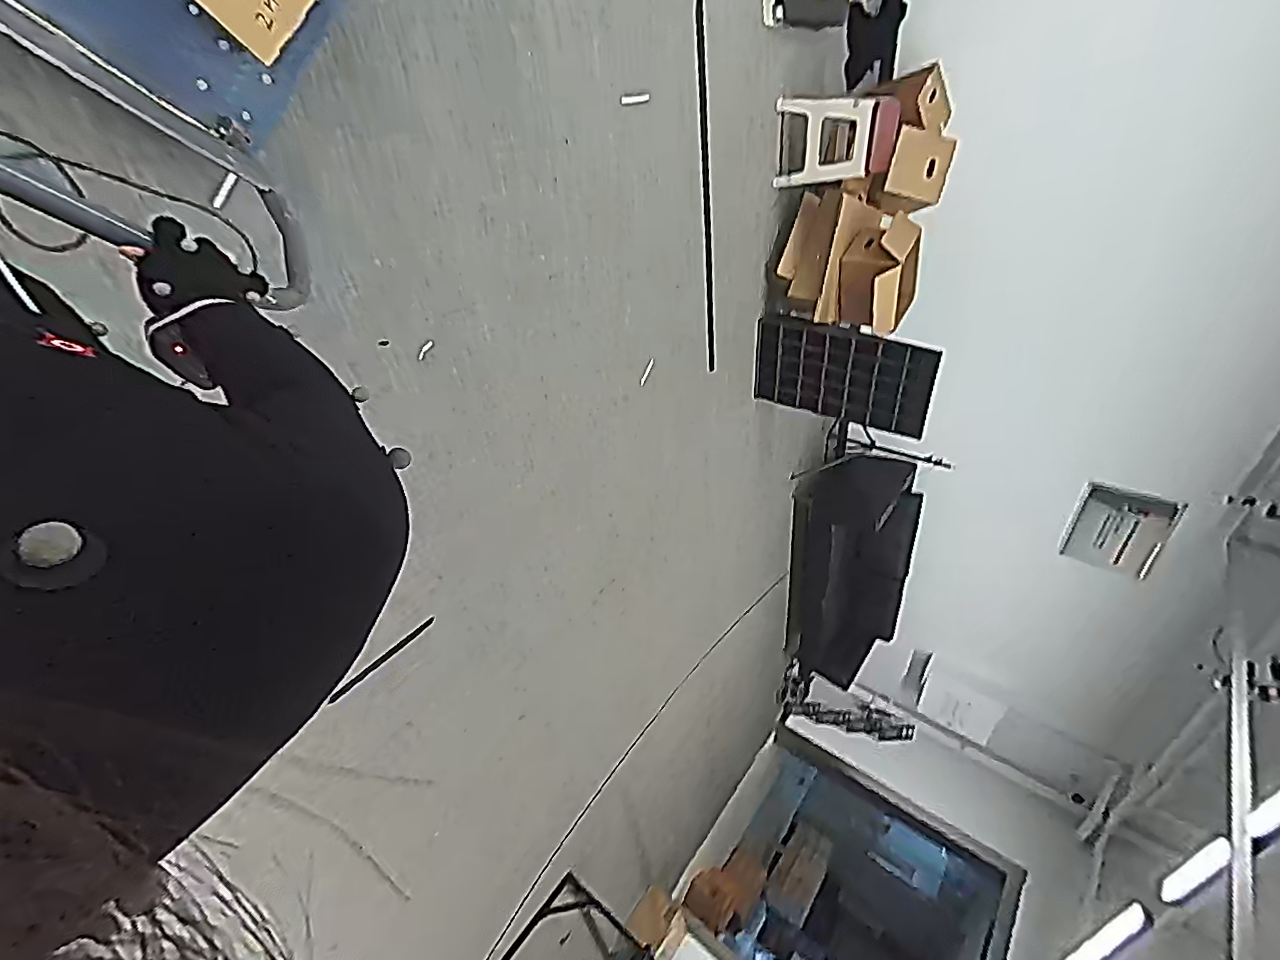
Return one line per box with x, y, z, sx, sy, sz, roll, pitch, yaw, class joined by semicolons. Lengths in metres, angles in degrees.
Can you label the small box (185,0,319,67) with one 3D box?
-0.645;-0.805;0.852;0.168;0.176;0.179;-49;147;5;small box
